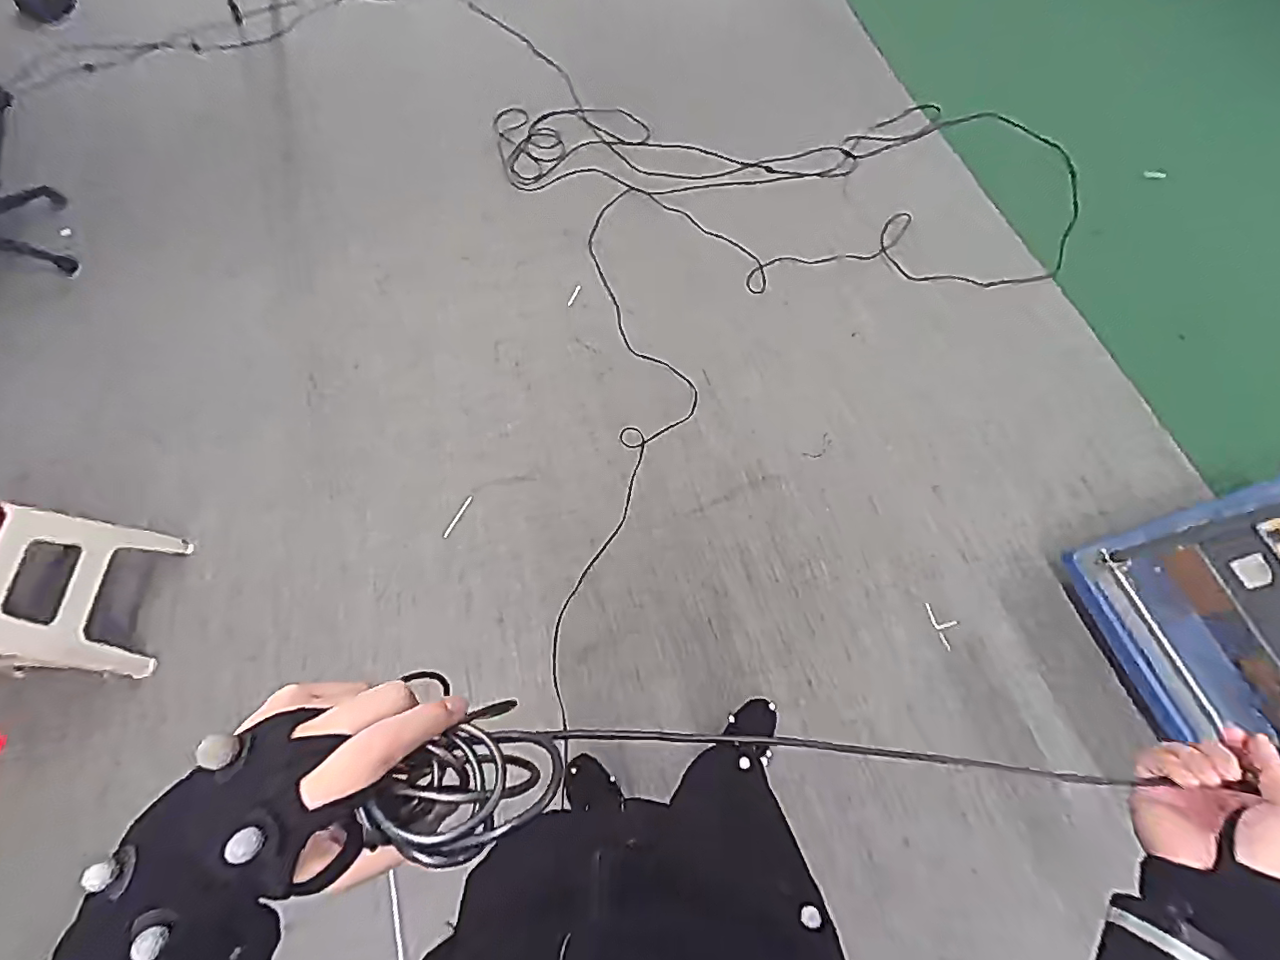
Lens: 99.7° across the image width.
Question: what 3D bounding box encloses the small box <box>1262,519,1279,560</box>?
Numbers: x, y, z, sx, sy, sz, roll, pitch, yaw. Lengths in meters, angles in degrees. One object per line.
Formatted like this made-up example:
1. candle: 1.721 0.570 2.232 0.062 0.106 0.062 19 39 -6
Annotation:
1. small box: 1.687 0.147 1.301 0.179 0.176 0.168 -20 70 -7

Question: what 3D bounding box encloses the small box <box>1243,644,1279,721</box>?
1. small box: 1.523 0.440 1.187 0.179 0.176 0.168 -16 69 -4
